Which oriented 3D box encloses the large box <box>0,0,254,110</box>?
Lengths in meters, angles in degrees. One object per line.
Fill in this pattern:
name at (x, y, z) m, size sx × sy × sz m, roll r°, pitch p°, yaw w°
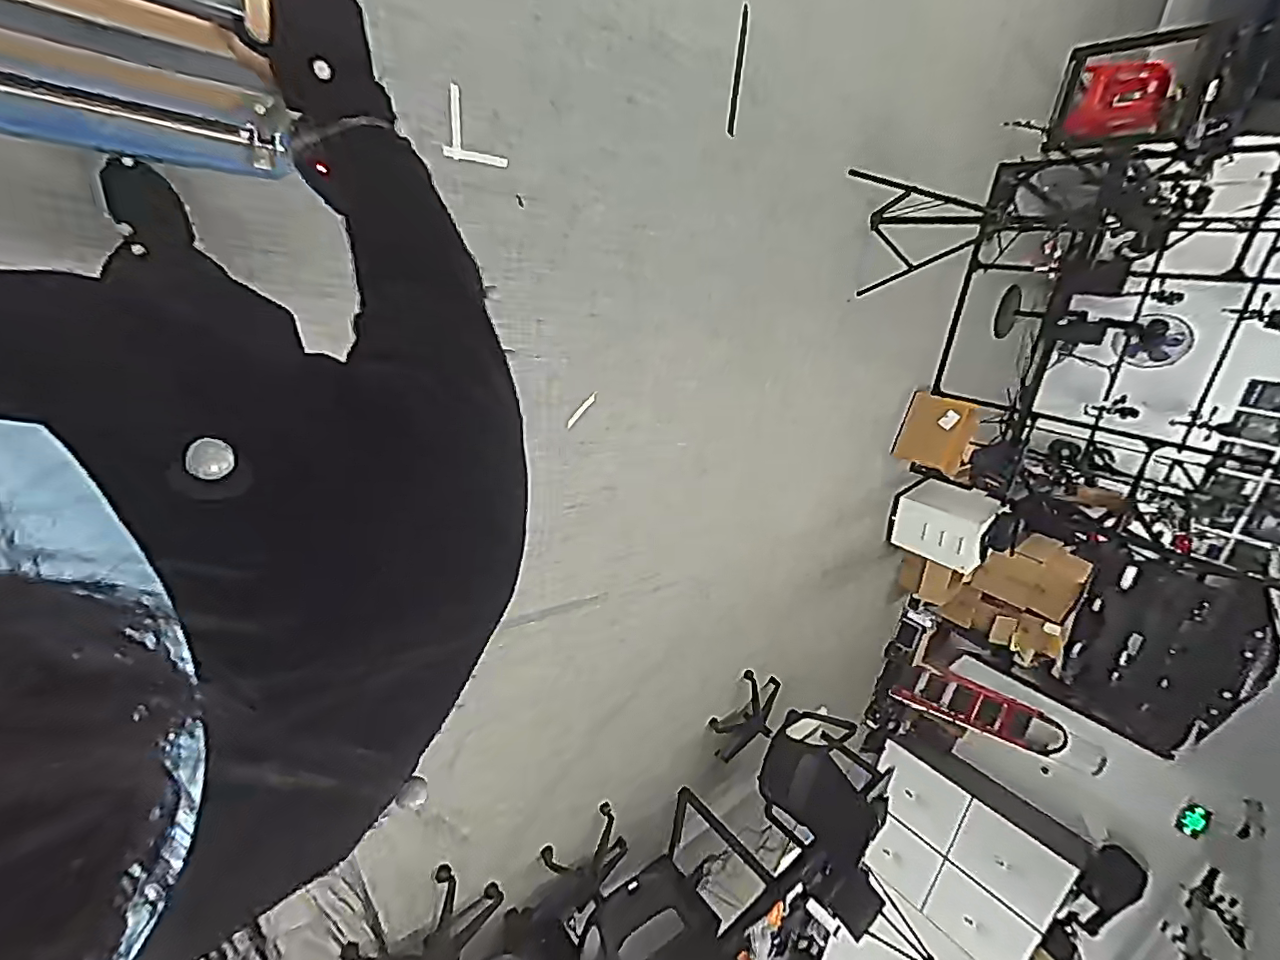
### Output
large box at (-0.748, -0.695, 0.645) m, size 0.408 × 0.320 × 0.320 m, roll -11°, pitch 116°, yaw -41°
